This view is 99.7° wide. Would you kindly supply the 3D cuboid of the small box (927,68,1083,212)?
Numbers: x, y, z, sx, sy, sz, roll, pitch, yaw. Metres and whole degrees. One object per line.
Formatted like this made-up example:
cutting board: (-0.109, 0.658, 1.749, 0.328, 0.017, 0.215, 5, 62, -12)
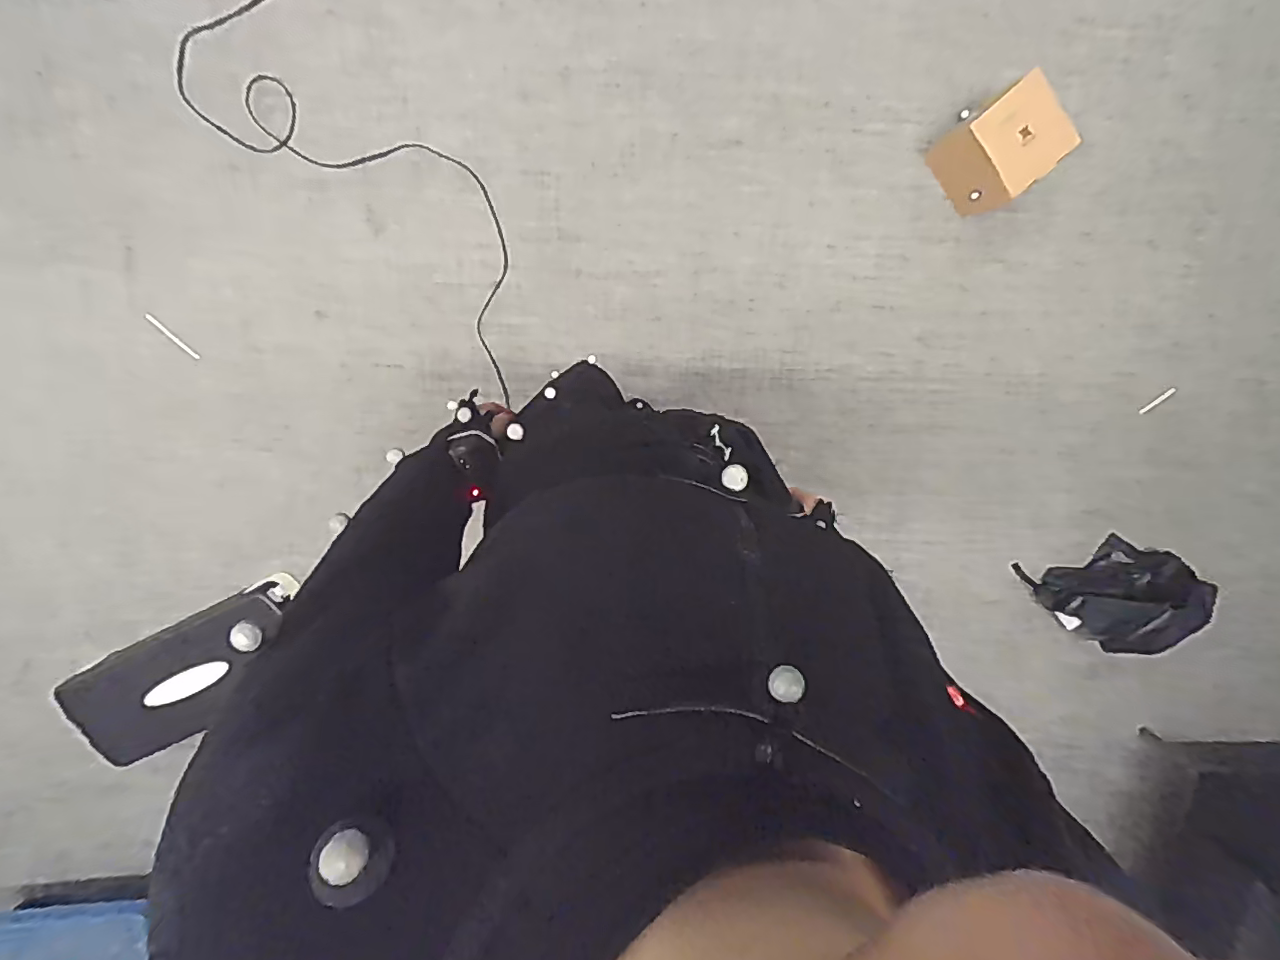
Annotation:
small box: (0.754, -0.694, 1.135, 0.168, 0.176, 0.179, -41, 101, 7)
